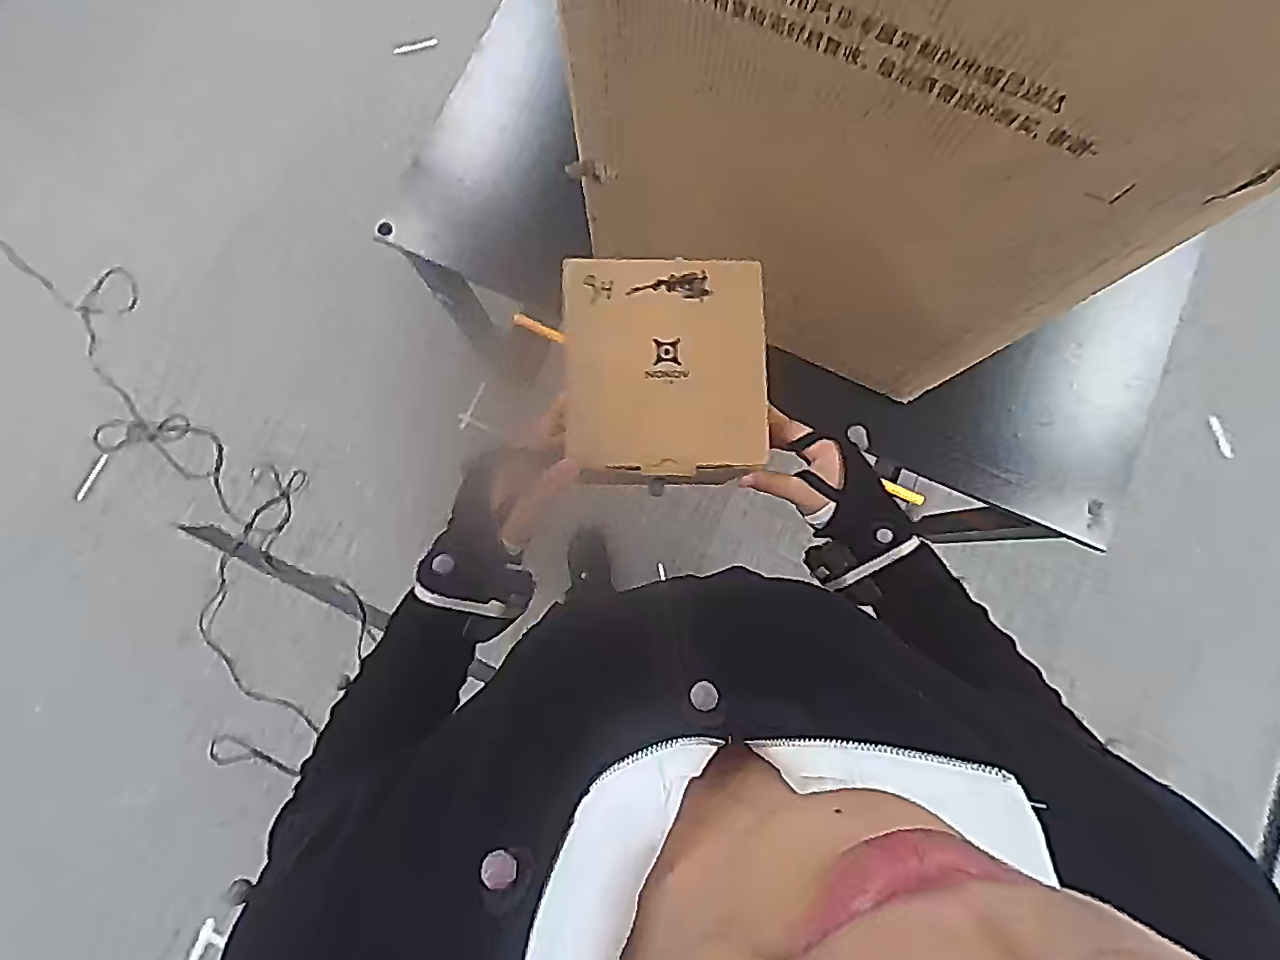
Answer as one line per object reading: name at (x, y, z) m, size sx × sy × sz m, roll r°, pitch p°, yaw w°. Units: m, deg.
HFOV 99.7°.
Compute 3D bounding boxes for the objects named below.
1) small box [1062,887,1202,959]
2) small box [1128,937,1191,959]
small box at (1.179, 1.147, 1.308) m, size 0.168 × 0.176 × 0.179 m, roll 28°, pitch 84°, yaw 3°
small box at (1.182, 1.134, 1.144) m, size 0.179 × 0.176 × 0.168 m, roll 28°, pitch 83°, yaw 4°
